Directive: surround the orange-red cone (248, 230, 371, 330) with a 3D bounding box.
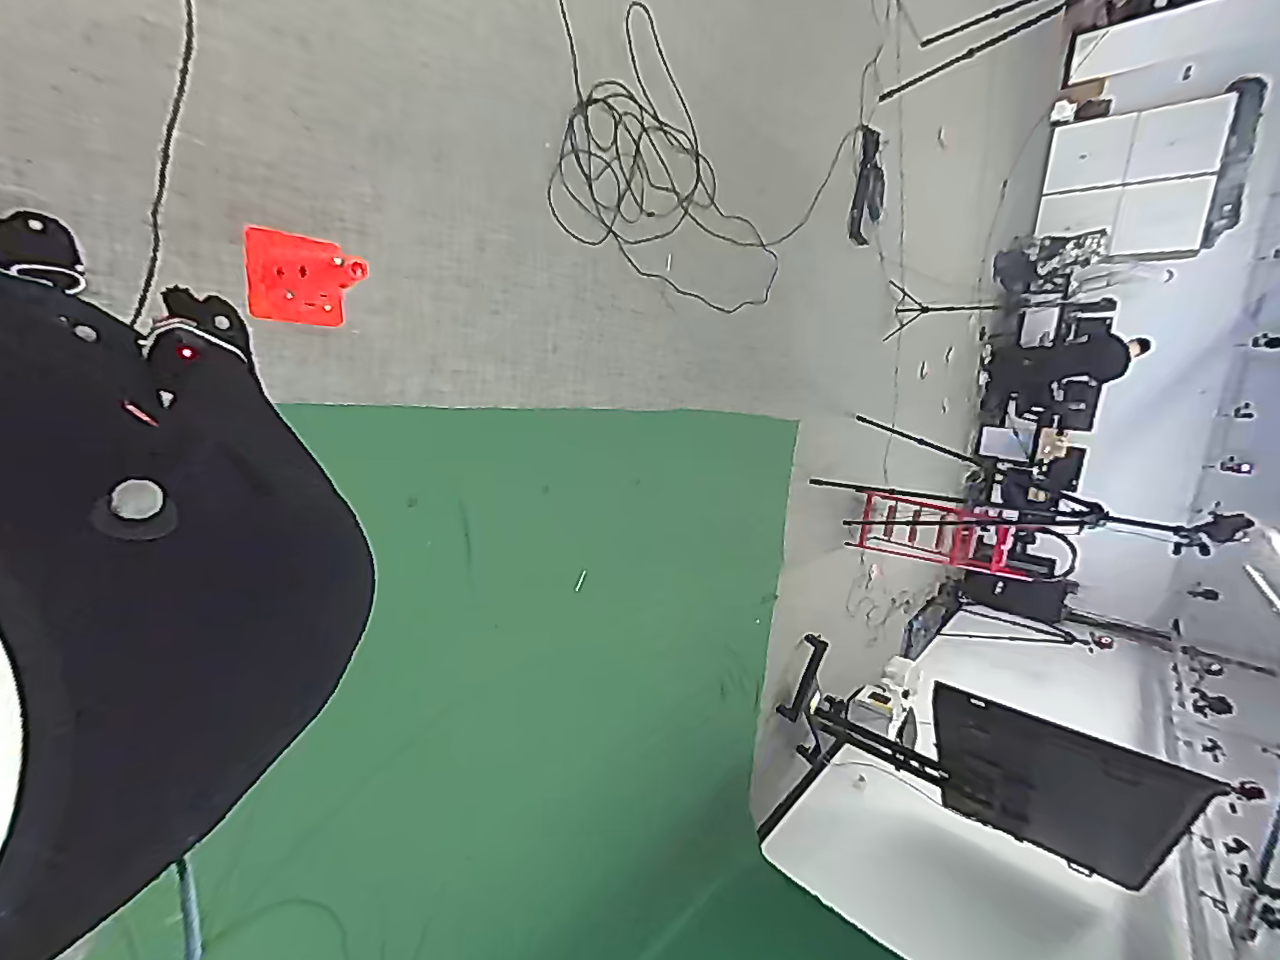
[{"bbox_3d":[-0.675,-0.439,1.162,0.198,0.360,0.199,-7,104,-49],"label":"orange-red cone"}]
